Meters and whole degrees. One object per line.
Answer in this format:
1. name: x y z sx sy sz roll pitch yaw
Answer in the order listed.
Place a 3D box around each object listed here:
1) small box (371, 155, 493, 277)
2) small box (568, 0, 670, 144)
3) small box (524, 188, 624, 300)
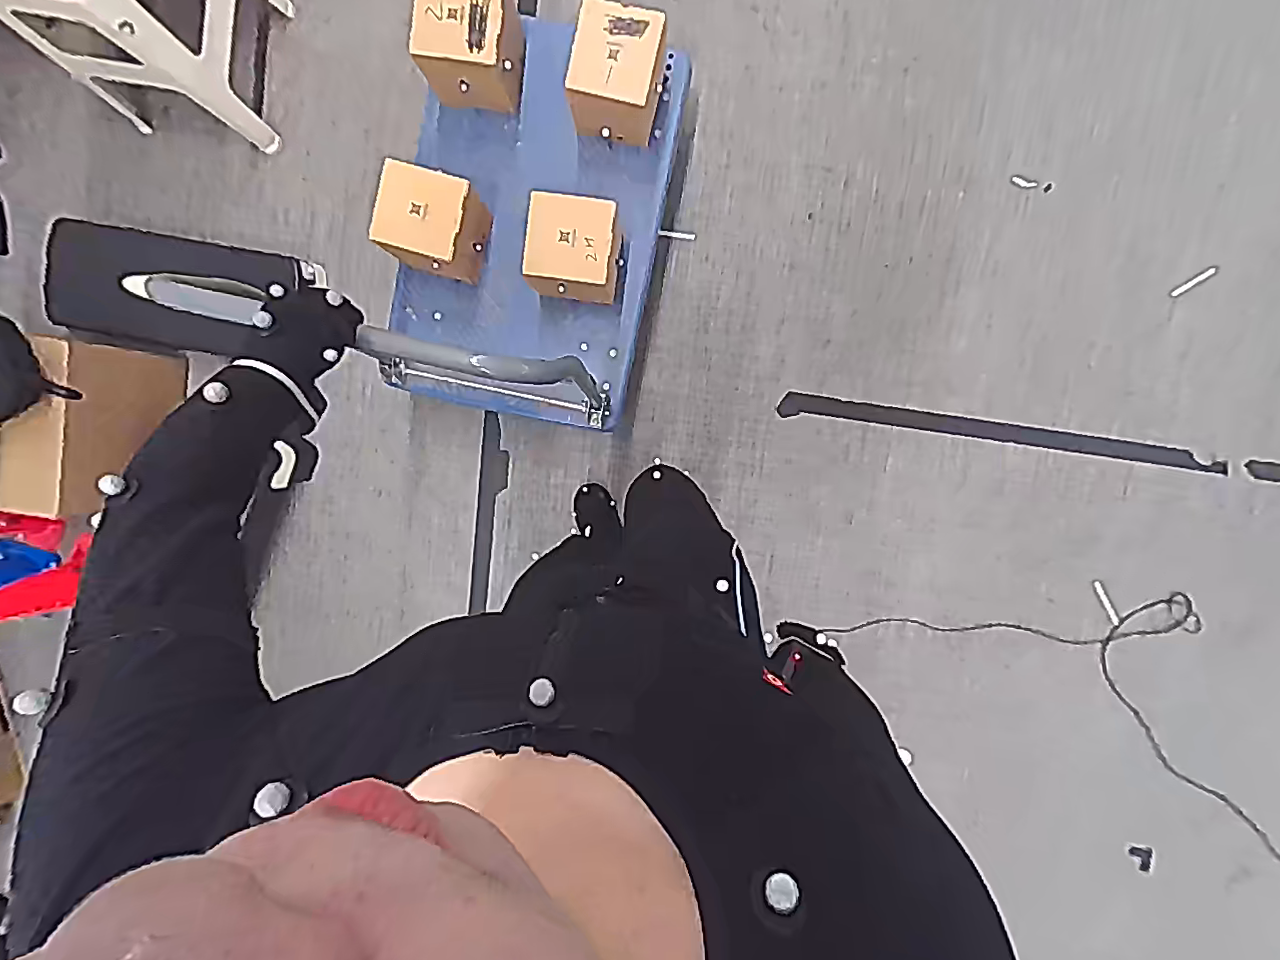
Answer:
1. small box: -0.438 -0.556 1.165 0.179 0.176 0.168 15 95 -1
2. small box: -0.040 -0.845 1.123 0.168 0.176 0.179 14 97 1
3. small box: -0.135 -0.496 1.159 0.179 0.176 0.168 9 96 1
